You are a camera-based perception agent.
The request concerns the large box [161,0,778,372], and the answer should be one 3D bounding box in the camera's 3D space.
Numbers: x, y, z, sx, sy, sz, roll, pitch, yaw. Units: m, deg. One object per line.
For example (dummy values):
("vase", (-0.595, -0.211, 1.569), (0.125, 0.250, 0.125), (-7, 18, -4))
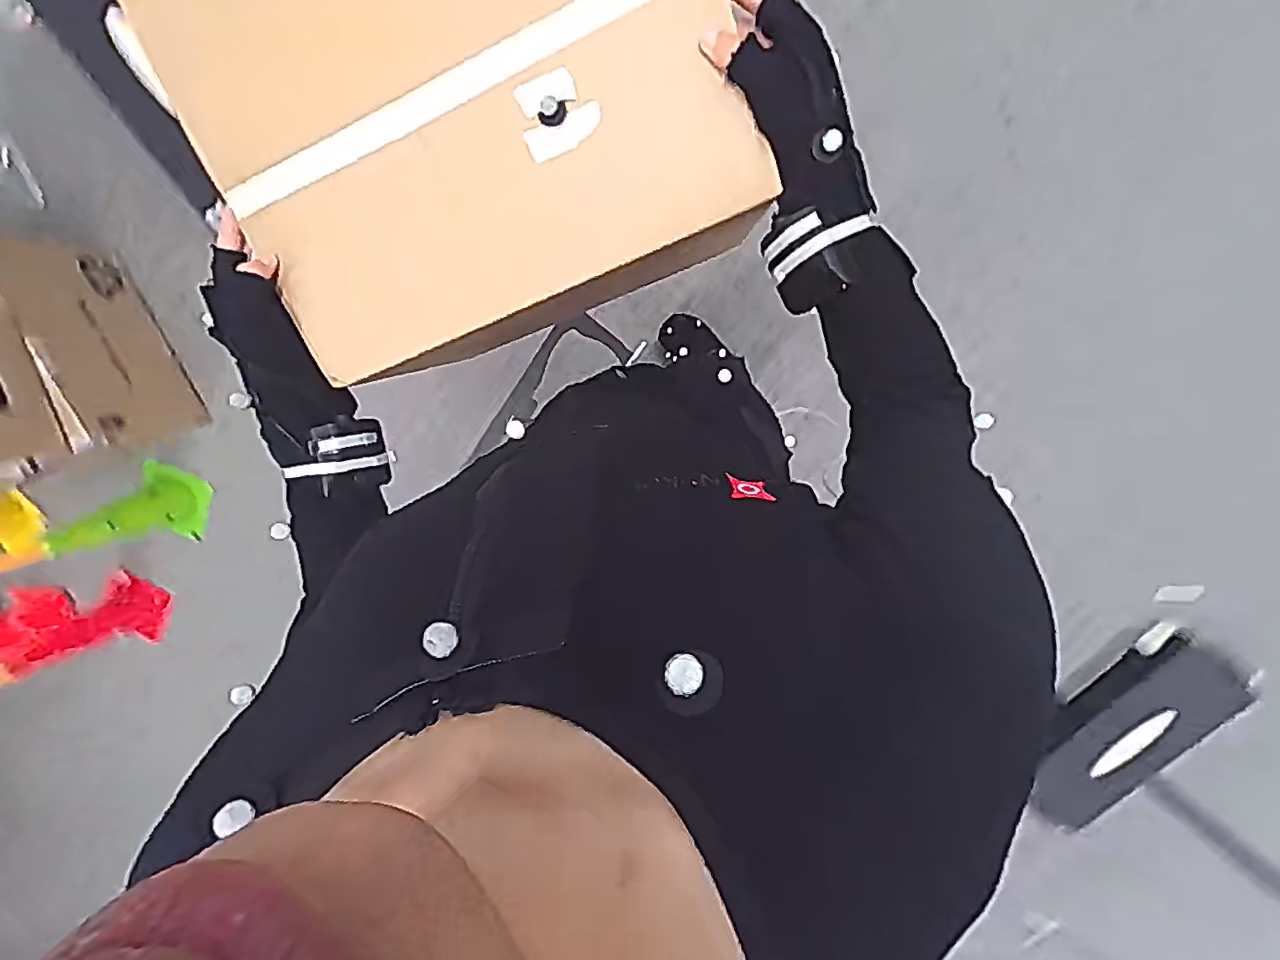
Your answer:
("large box", (-0.120, -0.335, 0.552), (0.408, 0.320, 0.320), (-19, 104, 10))
